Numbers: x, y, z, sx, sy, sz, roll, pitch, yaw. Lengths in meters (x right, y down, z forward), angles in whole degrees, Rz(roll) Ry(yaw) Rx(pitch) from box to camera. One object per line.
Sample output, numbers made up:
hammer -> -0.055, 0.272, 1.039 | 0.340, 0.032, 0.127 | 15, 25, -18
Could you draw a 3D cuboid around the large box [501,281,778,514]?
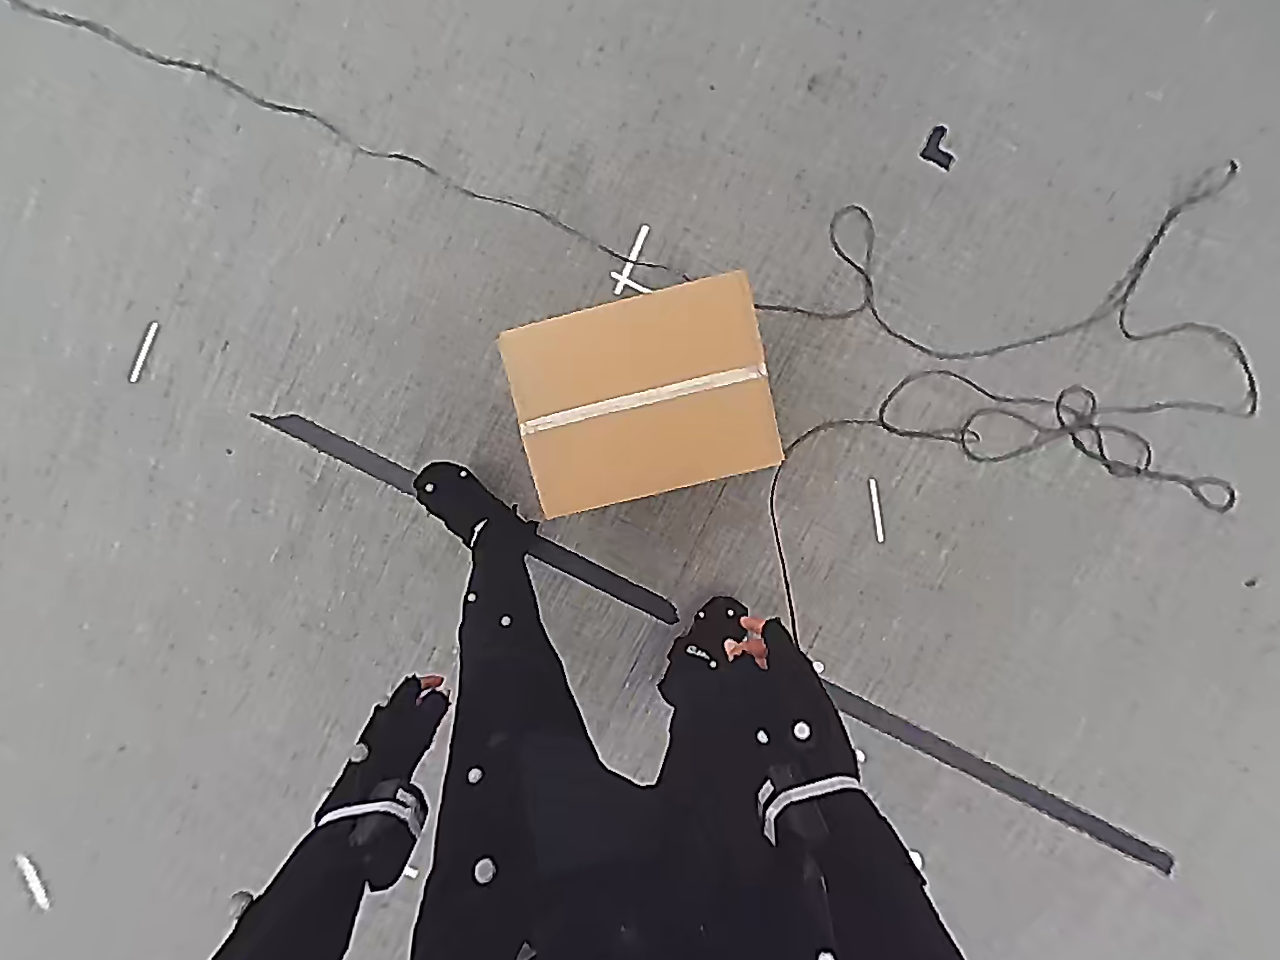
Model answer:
large box -> 0.006, -0.149, 1.004 | 0.408, 0.320, 0.320 | -12, 101, 5
